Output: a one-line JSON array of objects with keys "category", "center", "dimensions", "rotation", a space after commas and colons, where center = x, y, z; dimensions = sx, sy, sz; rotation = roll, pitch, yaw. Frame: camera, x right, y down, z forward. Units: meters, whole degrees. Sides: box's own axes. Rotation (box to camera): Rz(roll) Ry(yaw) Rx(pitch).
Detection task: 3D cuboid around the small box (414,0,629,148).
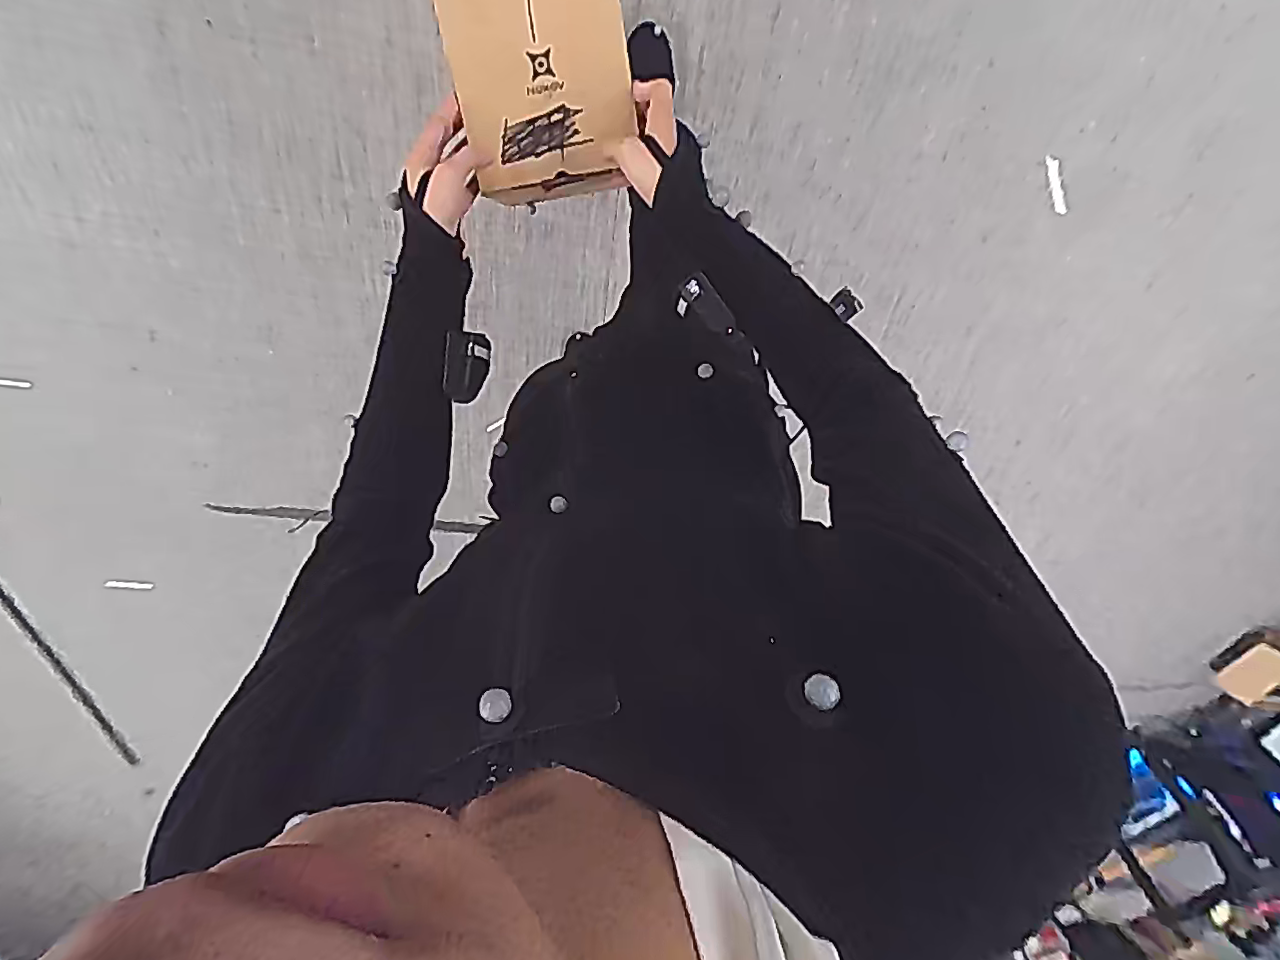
[{"category": "small box", "center": [-0.105, -0.427, 0.503], "dimensions": [0.168, 0.176, 0.179], "rotation": [-10, 113, 0]}]
